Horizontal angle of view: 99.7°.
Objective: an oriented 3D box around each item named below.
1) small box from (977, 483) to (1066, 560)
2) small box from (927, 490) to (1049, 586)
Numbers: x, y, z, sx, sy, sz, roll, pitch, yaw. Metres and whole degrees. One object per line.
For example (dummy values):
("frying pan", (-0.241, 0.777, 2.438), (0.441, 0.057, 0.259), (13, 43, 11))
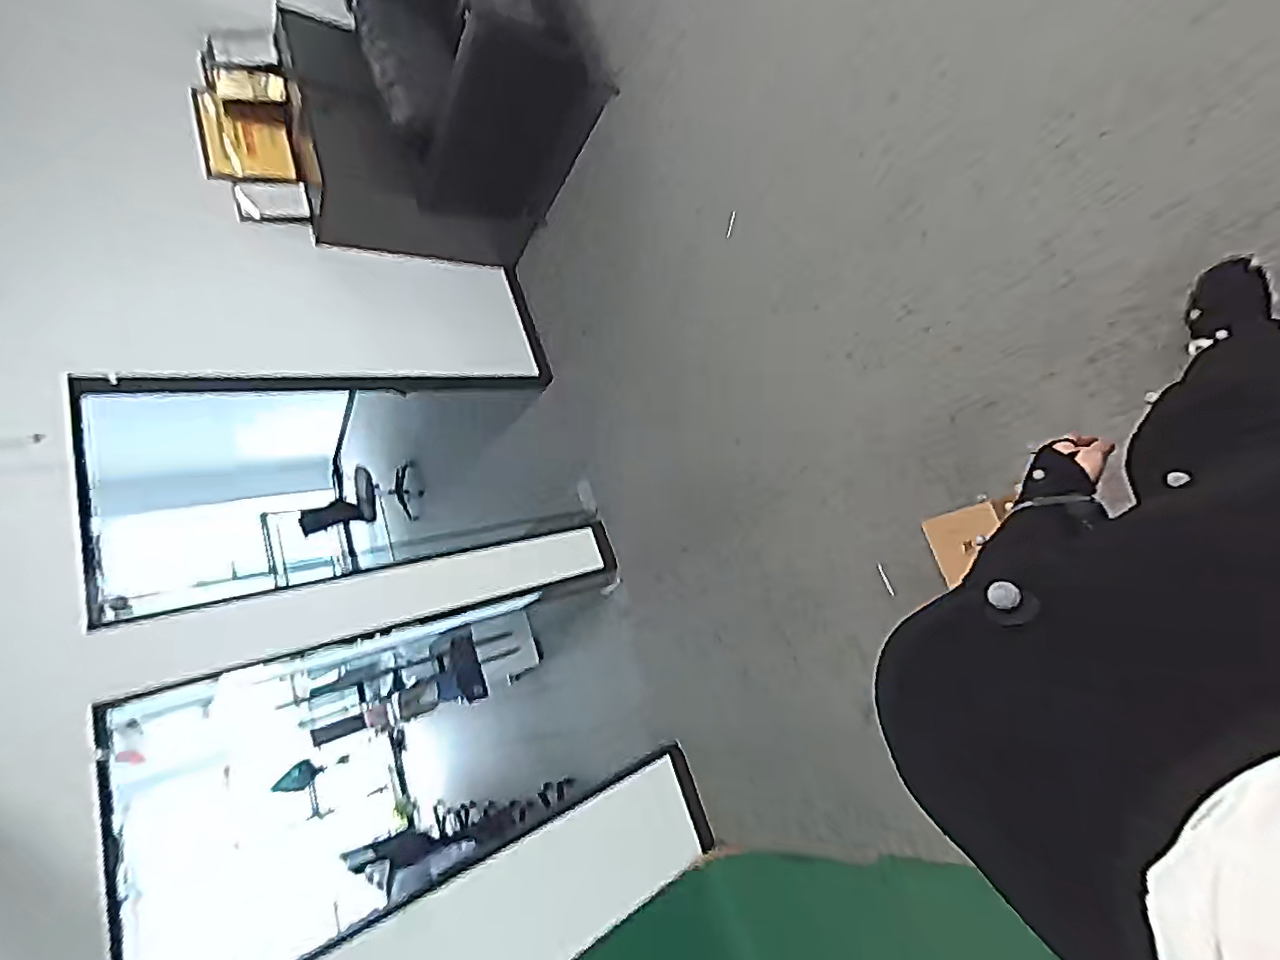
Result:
("small box", (0.955, 0.123, 1.398), (0.168, 0.176, 0.179), (-34, 70, 49))
("small box", (0.832, 0.137, 1.290), (0.168, 0.176, 0.179), (-32, 71, 50))
